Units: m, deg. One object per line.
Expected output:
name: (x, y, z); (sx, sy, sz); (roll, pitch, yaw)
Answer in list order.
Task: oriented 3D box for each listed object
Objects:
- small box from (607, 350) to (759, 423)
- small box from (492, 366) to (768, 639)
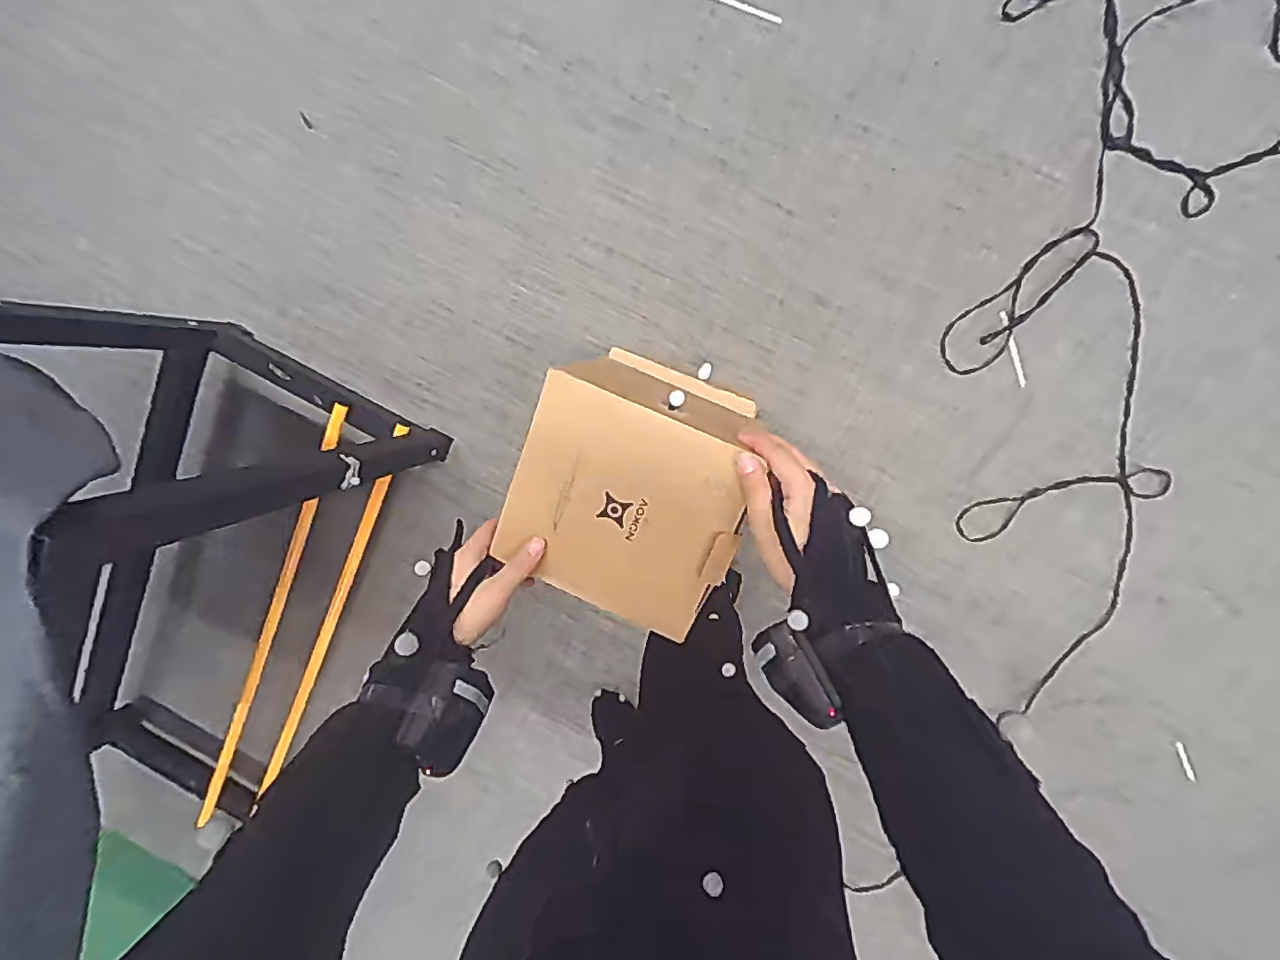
small box: (0.032, -0.055, 0.682); (0.179, 0.176, 0.168); (23, 103, 4)
small box: (0.001, 0.003, 0.488); (0.179, 0.176, 0.168); (24, 108, 5)
